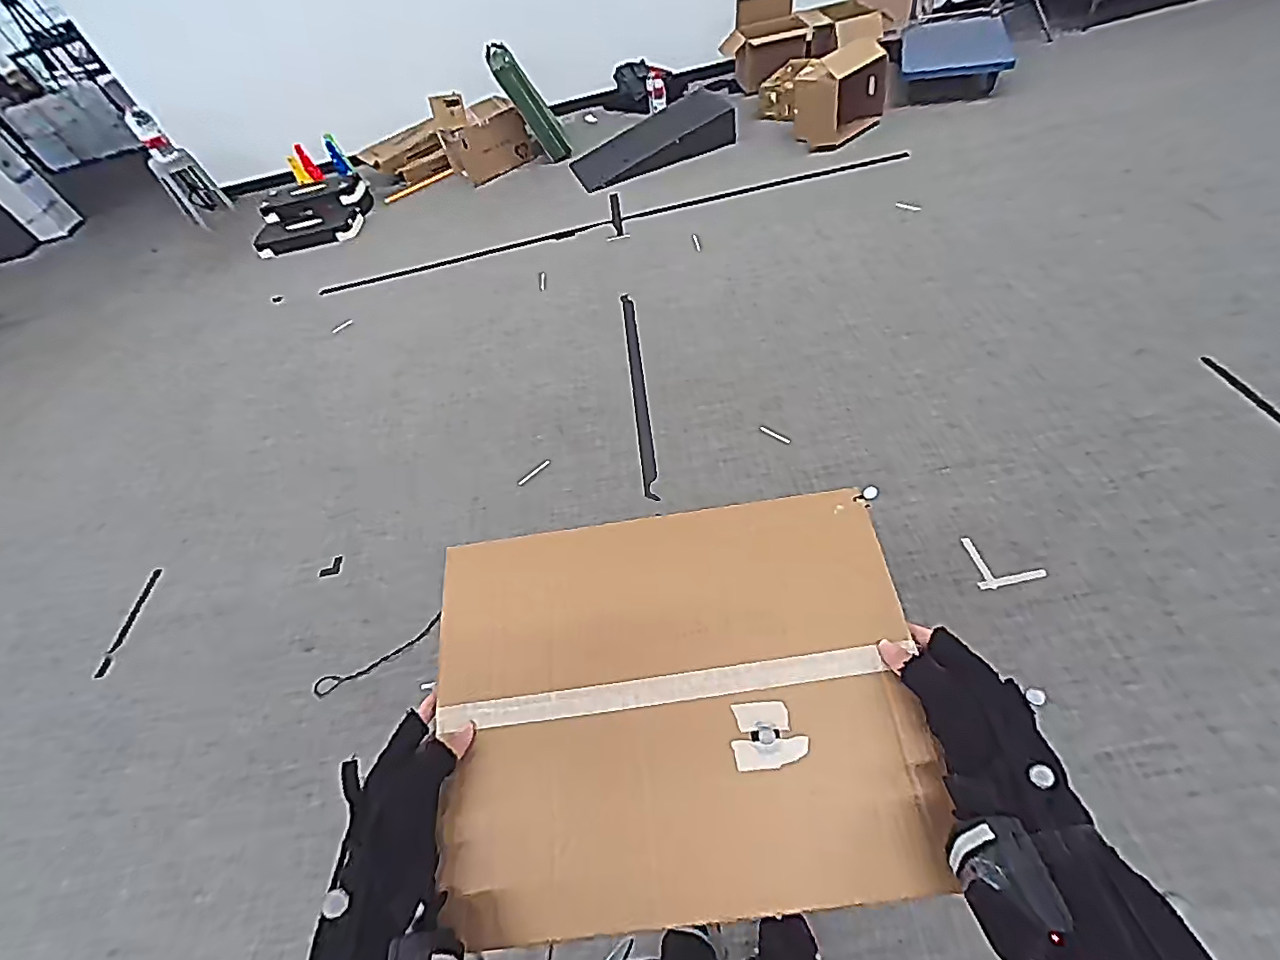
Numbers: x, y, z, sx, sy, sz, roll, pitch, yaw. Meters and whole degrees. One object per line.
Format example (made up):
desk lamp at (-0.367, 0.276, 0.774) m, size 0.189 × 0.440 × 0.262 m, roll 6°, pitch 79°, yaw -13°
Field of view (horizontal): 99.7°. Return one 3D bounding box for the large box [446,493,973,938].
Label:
large box at (0.043, 0.245, 0.597) m, size 0.408 × 0.320 × 0.320 m, roll -8°, pitch 62°, yaw 1°
